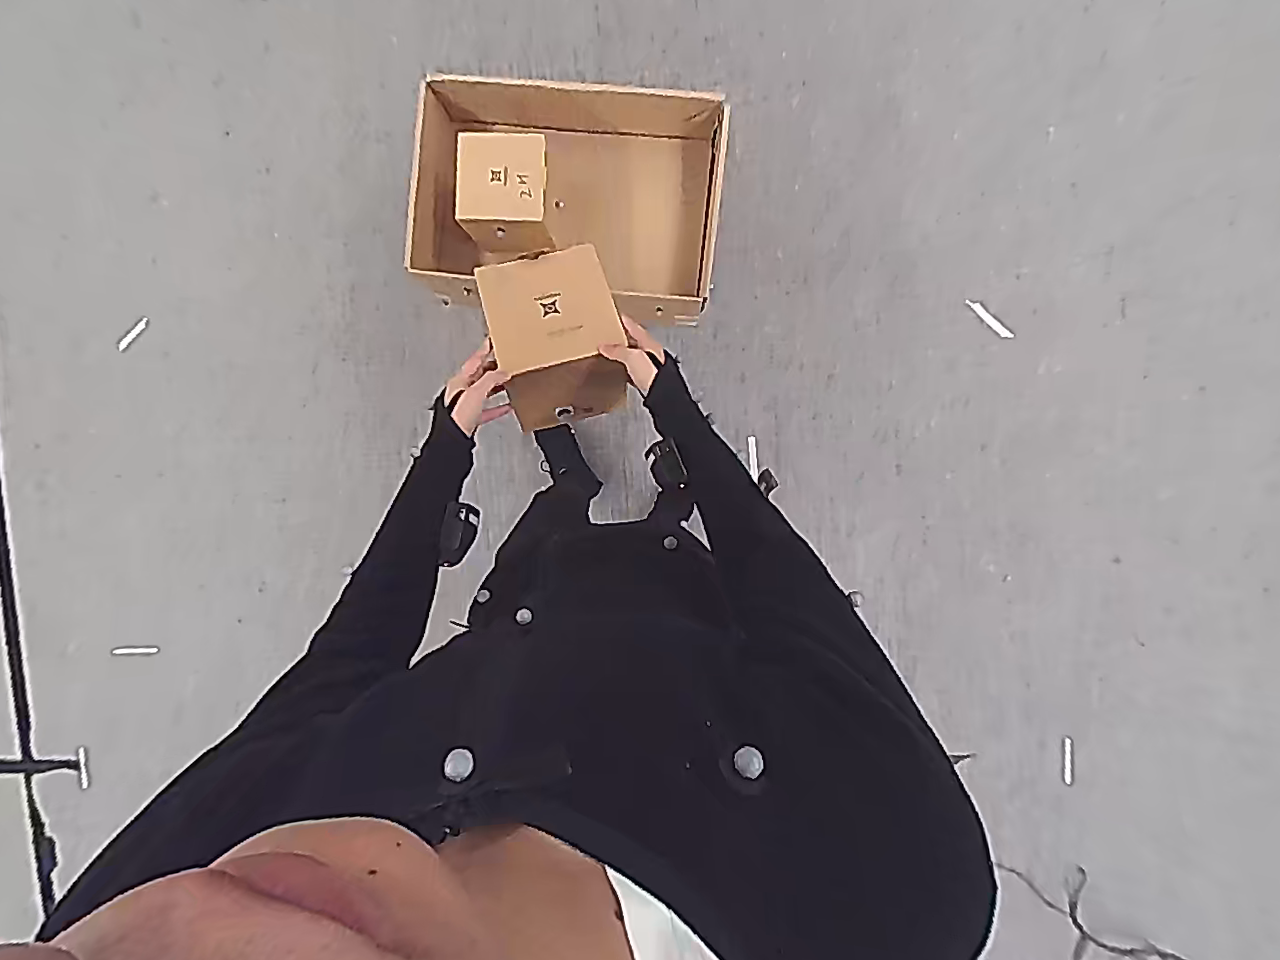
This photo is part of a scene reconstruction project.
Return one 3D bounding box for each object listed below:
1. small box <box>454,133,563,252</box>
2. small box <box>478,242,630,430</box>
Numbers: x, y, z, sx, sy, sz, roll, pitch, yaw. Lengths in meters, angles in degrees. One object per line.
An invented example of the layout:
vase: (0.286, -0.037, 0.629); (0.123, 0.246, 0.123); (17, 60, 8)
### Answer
small box: (-0.264, -0.584, 1.117); (0.179, 0.176, 0.168); (3, 93, 2)
small box: (-0.117, -0.198, 0.768); (0.168, 0.176, 0.179); (-15, 70, -7)
